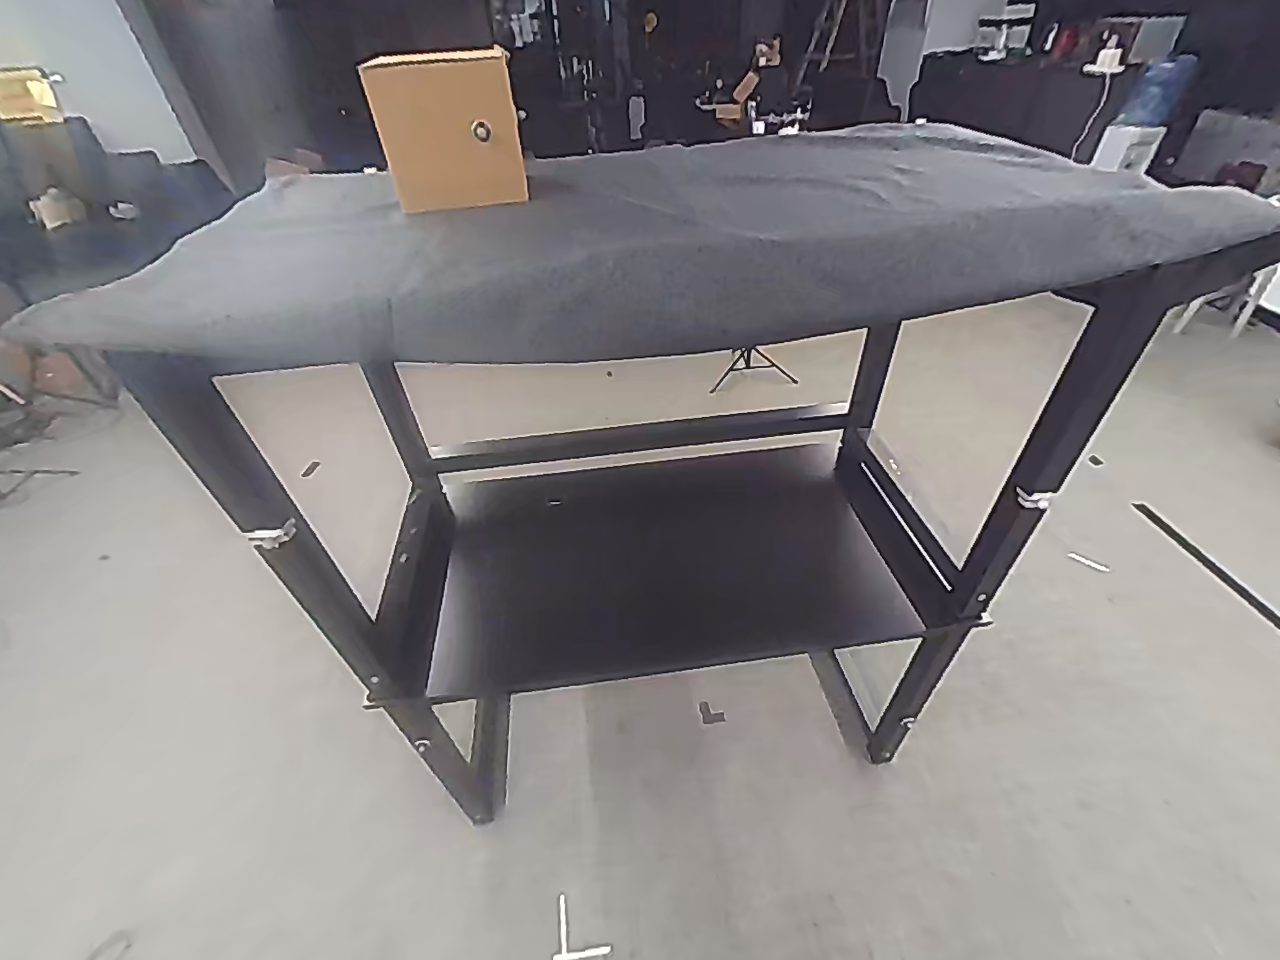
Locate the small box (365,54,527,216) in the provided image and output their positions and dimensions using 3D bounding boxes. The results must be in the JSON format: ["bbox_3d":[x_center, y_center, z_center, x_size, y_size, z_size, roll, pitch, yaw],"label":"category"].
[{"bbox_3d":[-0.257,-0.491,0.770,0.179,0.176,0.168,-8,42,-6],"label":"small box"}]
